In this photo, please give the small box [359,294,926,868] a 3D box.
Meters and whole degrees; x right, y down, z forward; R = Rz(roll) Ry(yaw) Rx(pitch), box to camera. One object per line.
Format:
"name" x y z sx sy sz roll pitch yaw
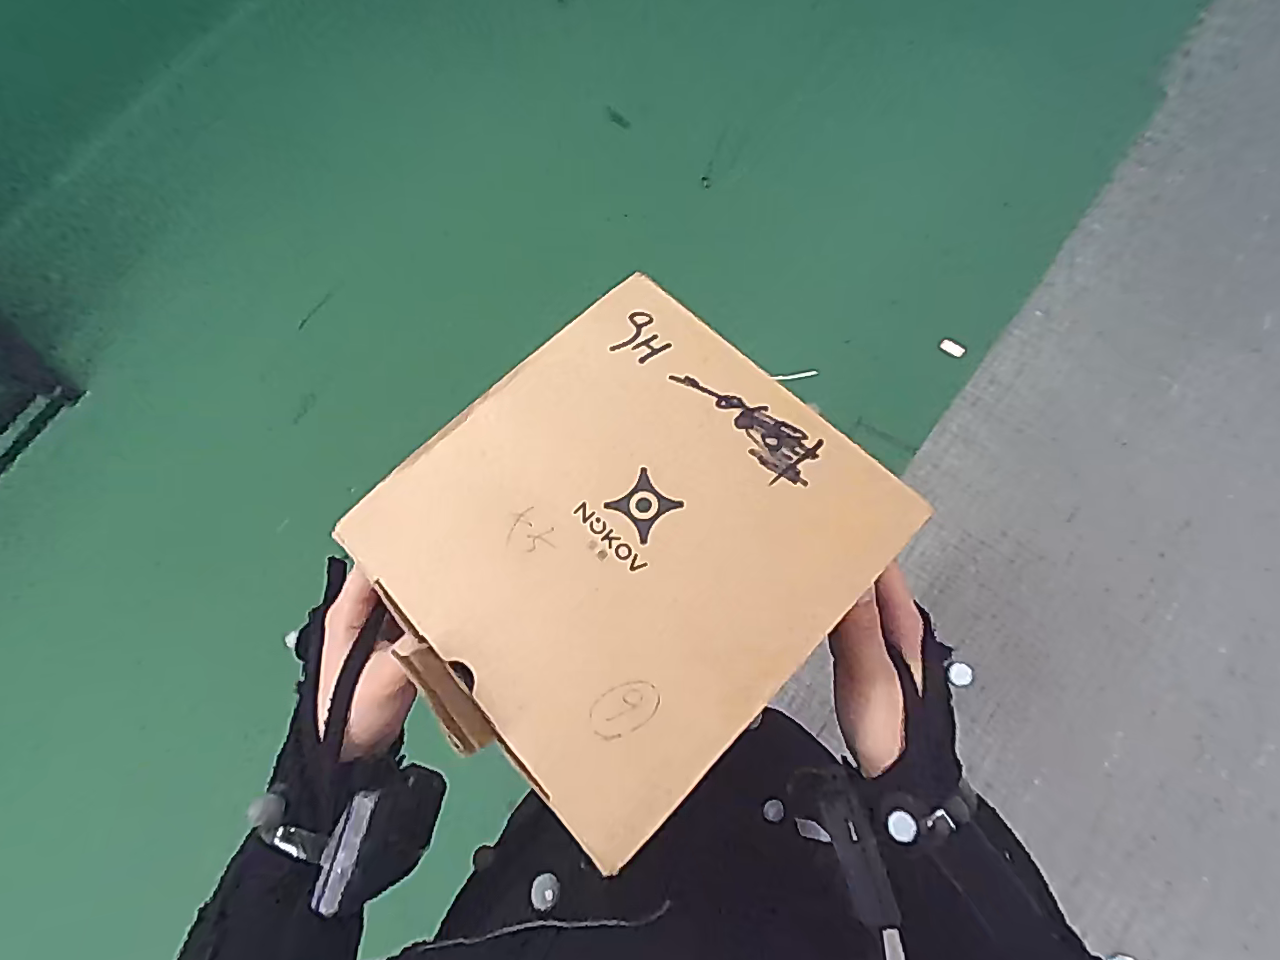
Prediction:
"small box" 0.002 0.048 0.294 0.179 0.176 0.168 -42 75 -11
